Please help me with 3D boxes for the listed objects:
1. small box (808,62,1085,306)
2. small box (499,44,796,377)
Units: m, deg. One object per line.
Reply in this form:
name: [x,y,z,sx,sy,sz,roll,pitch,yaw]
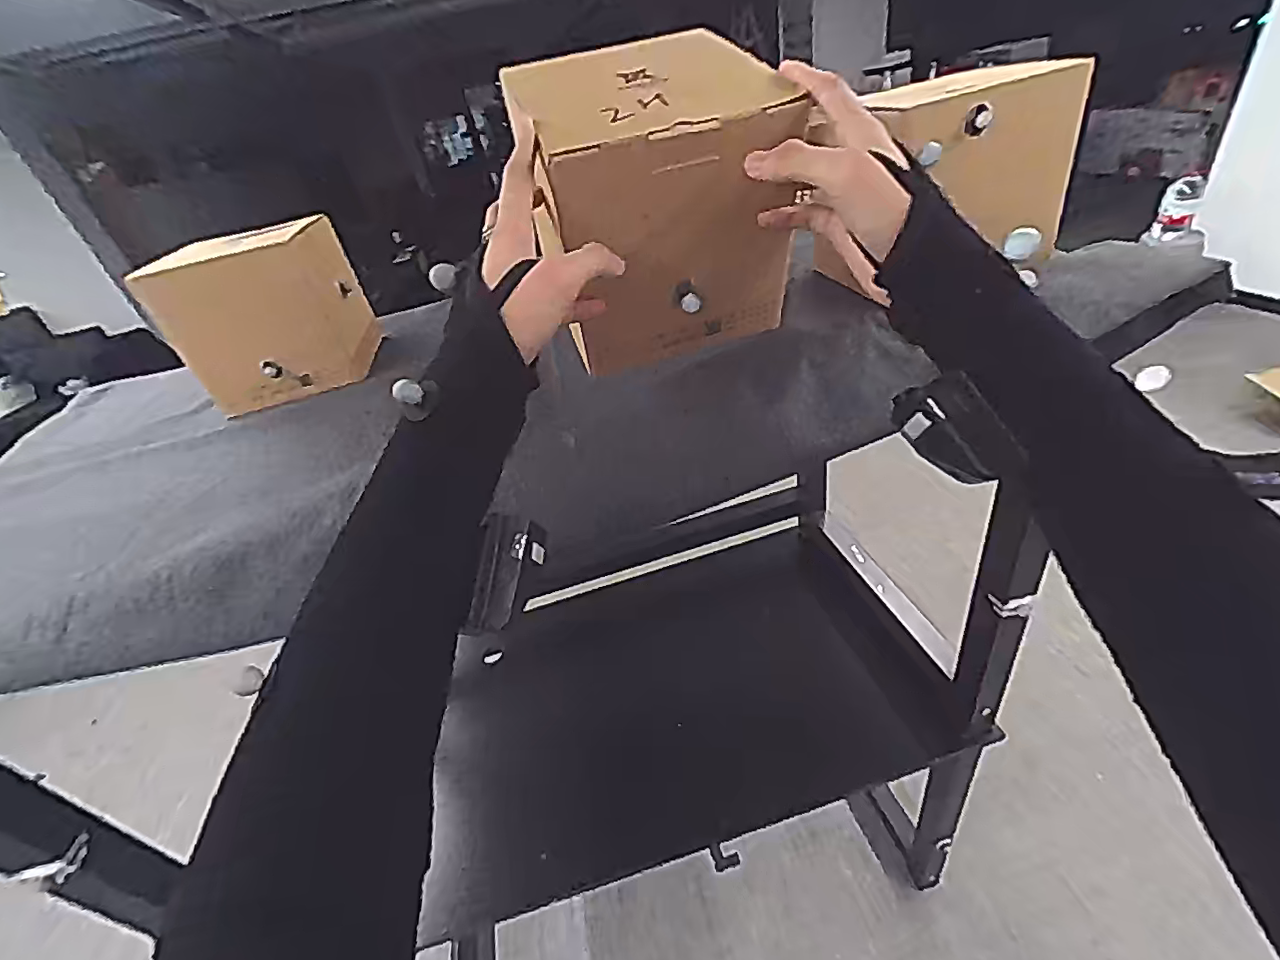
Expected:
small box: [0.283,-0.291,0.546,0.168,0.176,0.179,-16,34,-1]
small box: [0.000,-0.213,0.433,0.168,0.176,0.179,-18,53,-7]
